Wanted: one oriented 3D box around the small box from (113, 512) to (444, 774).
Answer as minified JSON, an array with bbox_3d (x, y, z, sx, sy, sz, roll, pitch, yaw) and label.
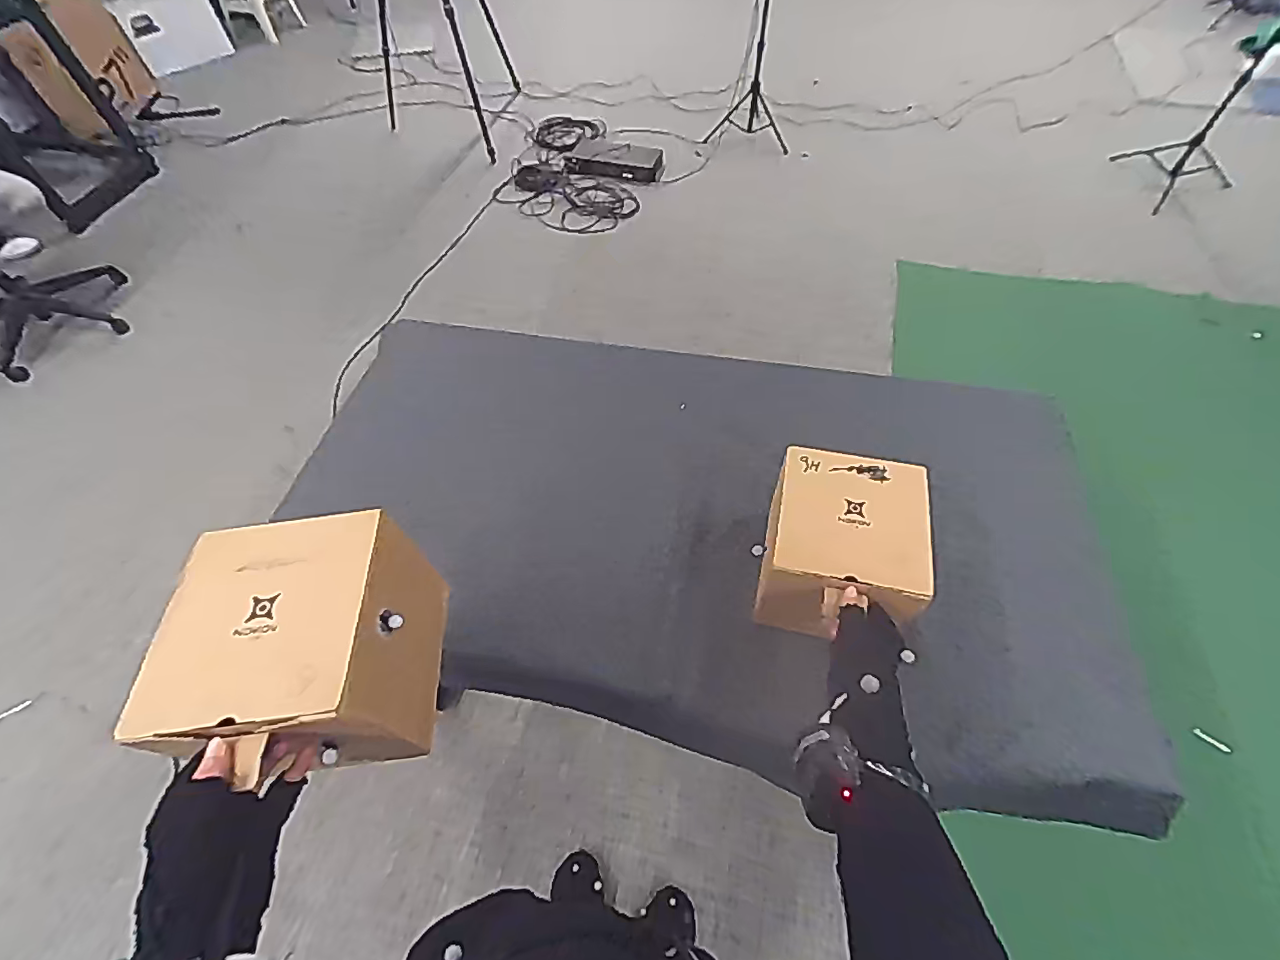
[{"bbox_3d":[-0.292,0.155,0.491,0.168,0.176,0.179,-8,53,-1],"label":"small box"}]
